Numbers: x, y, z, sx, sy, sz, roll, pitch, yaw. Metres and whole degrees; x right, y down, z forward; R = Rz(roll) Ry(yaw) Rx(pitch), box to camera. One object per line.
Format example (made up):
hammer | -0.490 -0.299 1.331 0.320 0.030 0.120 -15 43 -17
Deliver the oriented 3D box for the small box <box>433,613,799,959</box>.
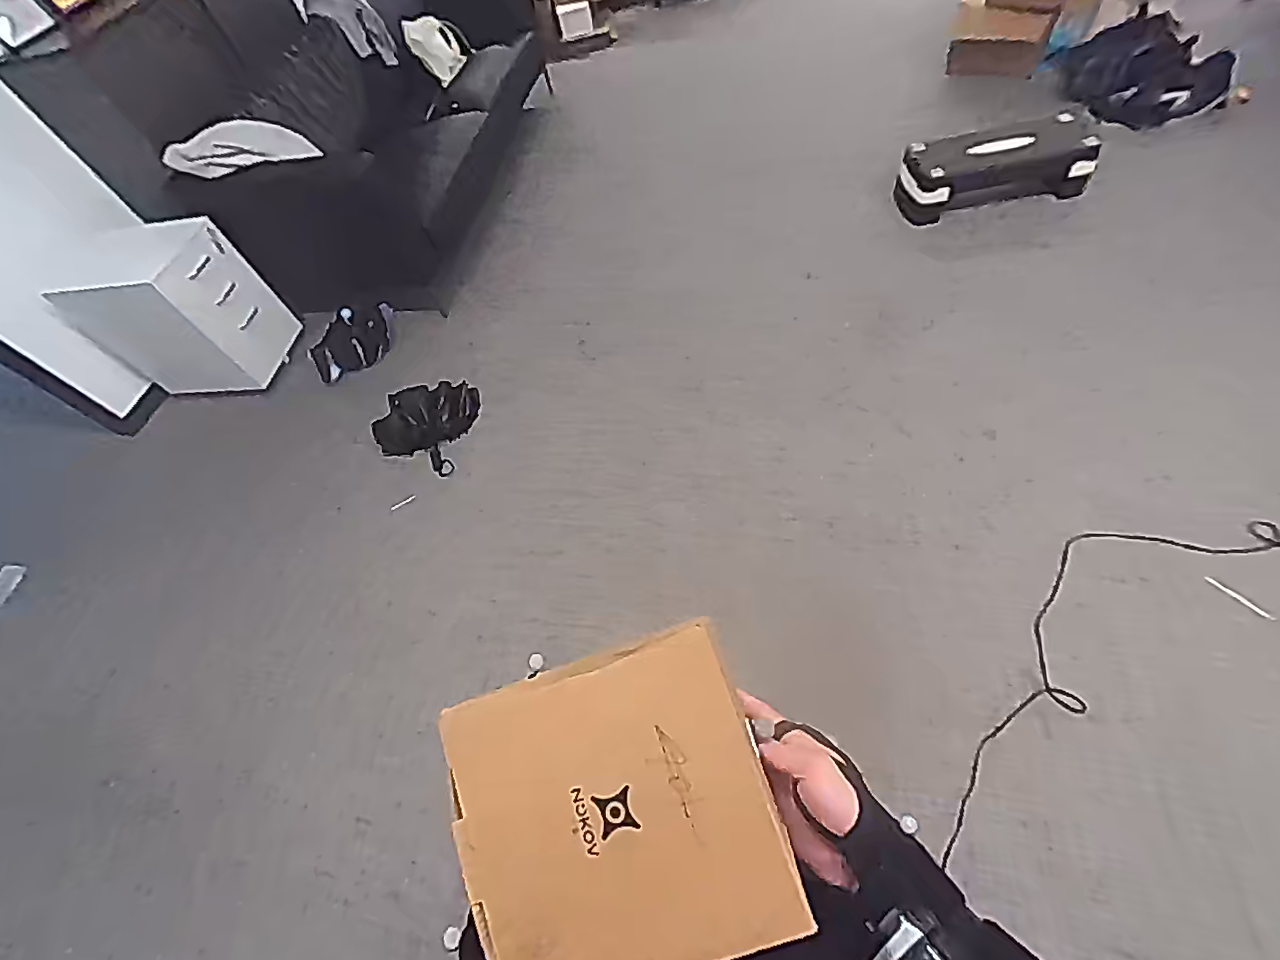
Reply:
small box | -0.010 0.202 0.383 0.179 0.176 0.168 -21 76 2
